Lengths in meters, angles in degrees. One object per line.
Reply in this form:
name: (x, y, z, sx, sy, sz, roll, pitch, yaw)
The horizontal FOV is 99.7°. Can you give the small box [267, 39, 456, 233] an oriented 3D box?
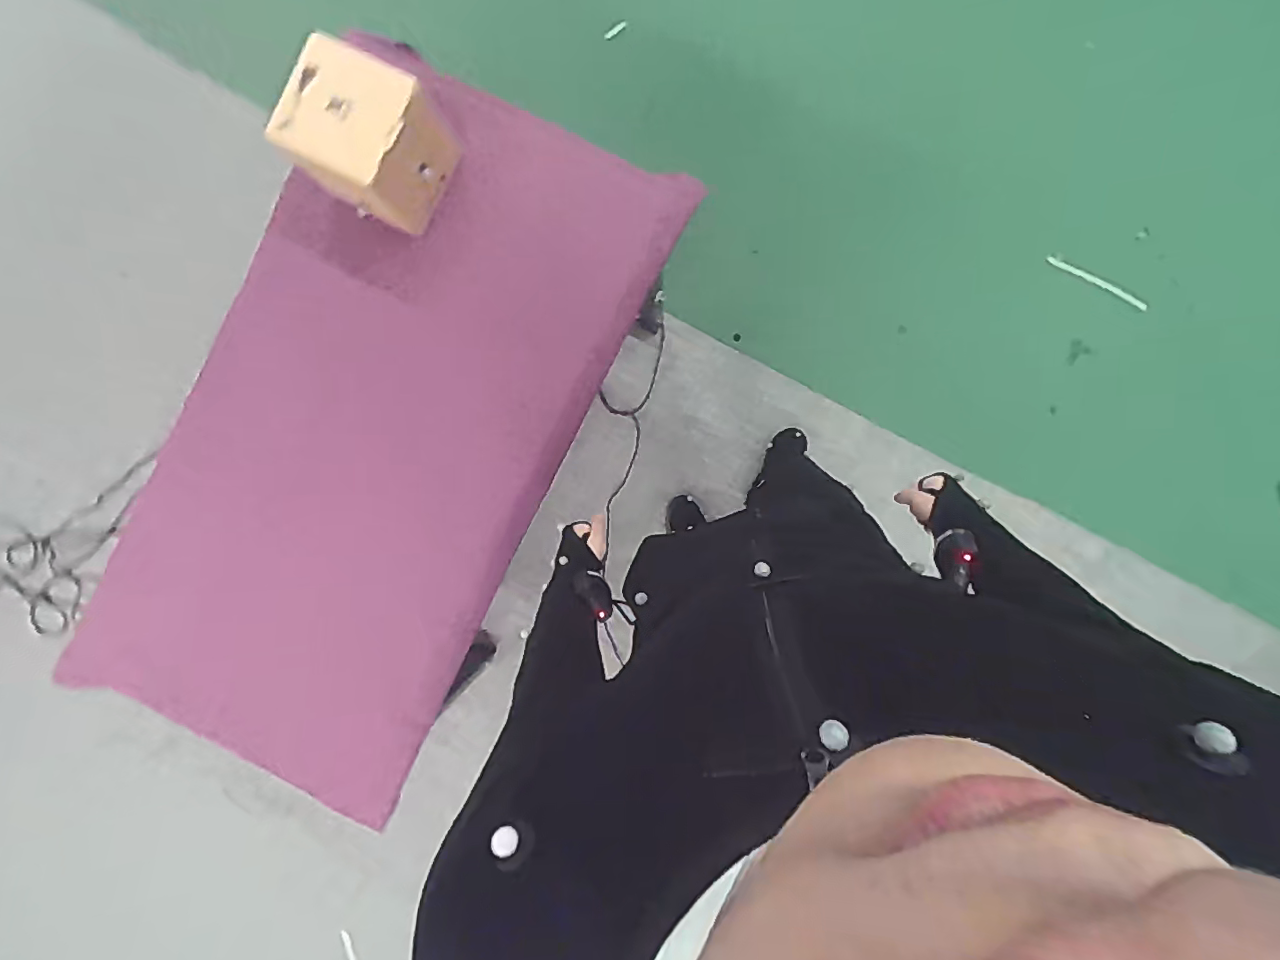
small box: (-0.420, -0.520, 0.849, 0.179, 0.176, 0.168, 27, 92, 2)
